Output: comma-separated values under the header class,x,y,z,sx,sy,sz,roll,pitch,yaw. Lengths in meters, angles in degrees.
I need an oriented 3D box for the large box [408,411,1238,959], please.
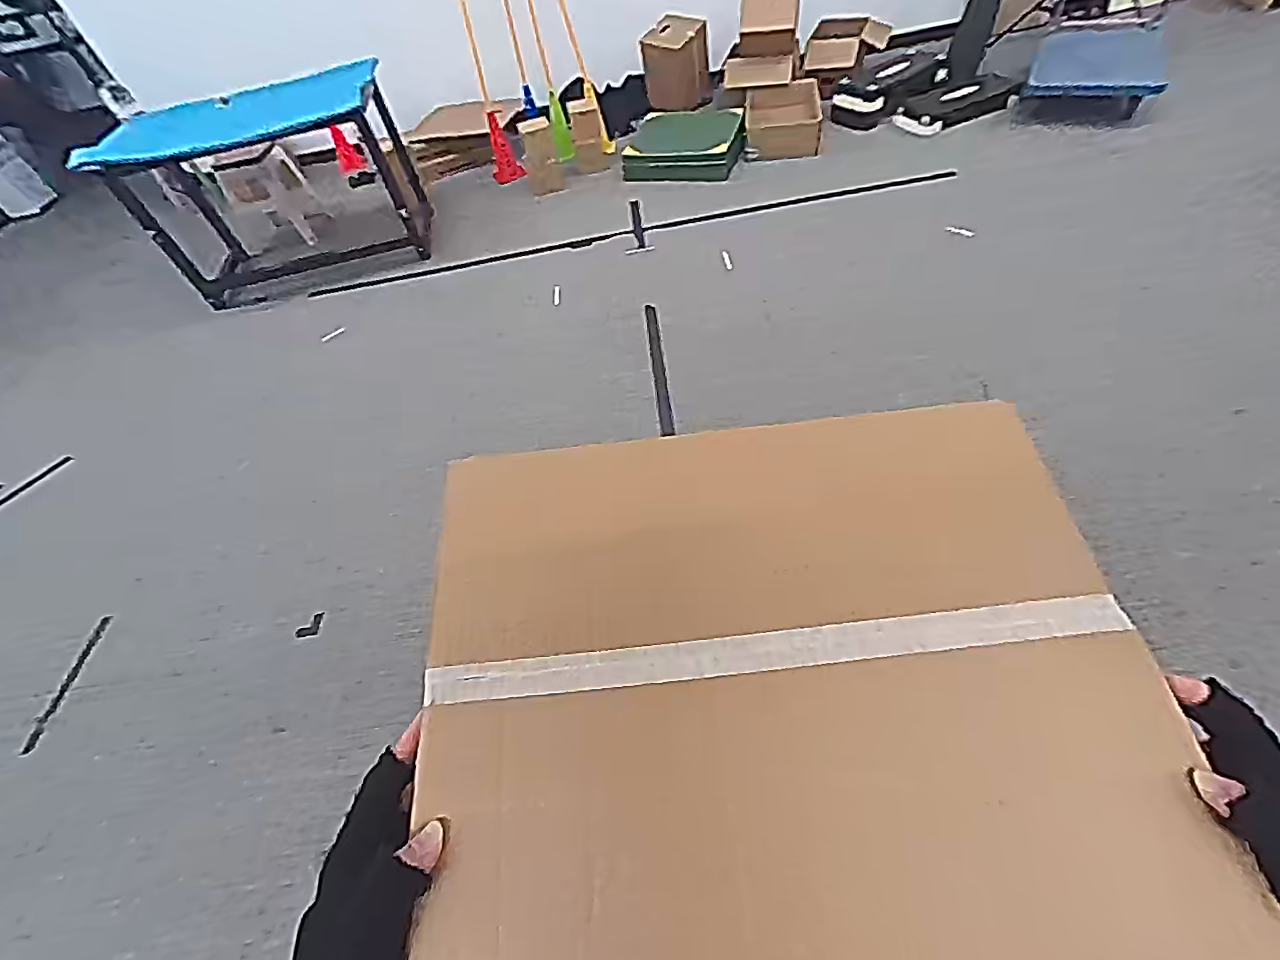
class,x,y,z,sx,sy,sz,roll,pitch,yaw
large box,0.080,0.179,0.453,0.408,0.320,0.320,-7,60,1
